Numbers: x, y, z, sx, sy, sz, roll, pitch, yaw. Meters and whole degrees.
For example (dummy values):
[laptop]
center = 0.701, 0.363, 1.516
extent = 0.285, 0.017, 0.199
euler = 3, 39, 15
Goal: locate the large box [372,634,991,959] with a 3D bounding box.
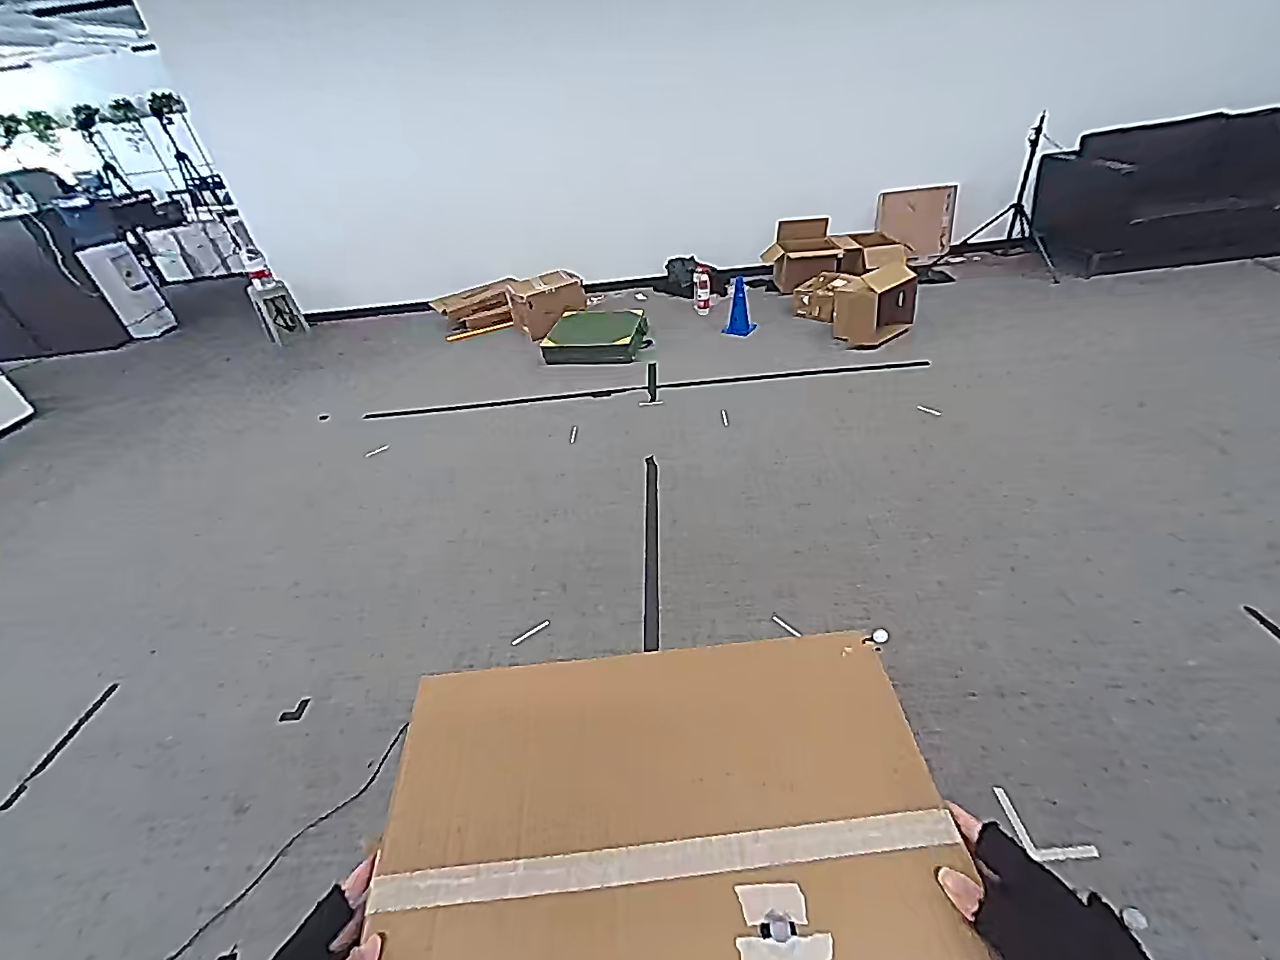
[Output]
[large box]
center = 0.023, 0.376, 0.491
extent = 0.408, 0.320, 0.320
euler = -5, 44, -2
